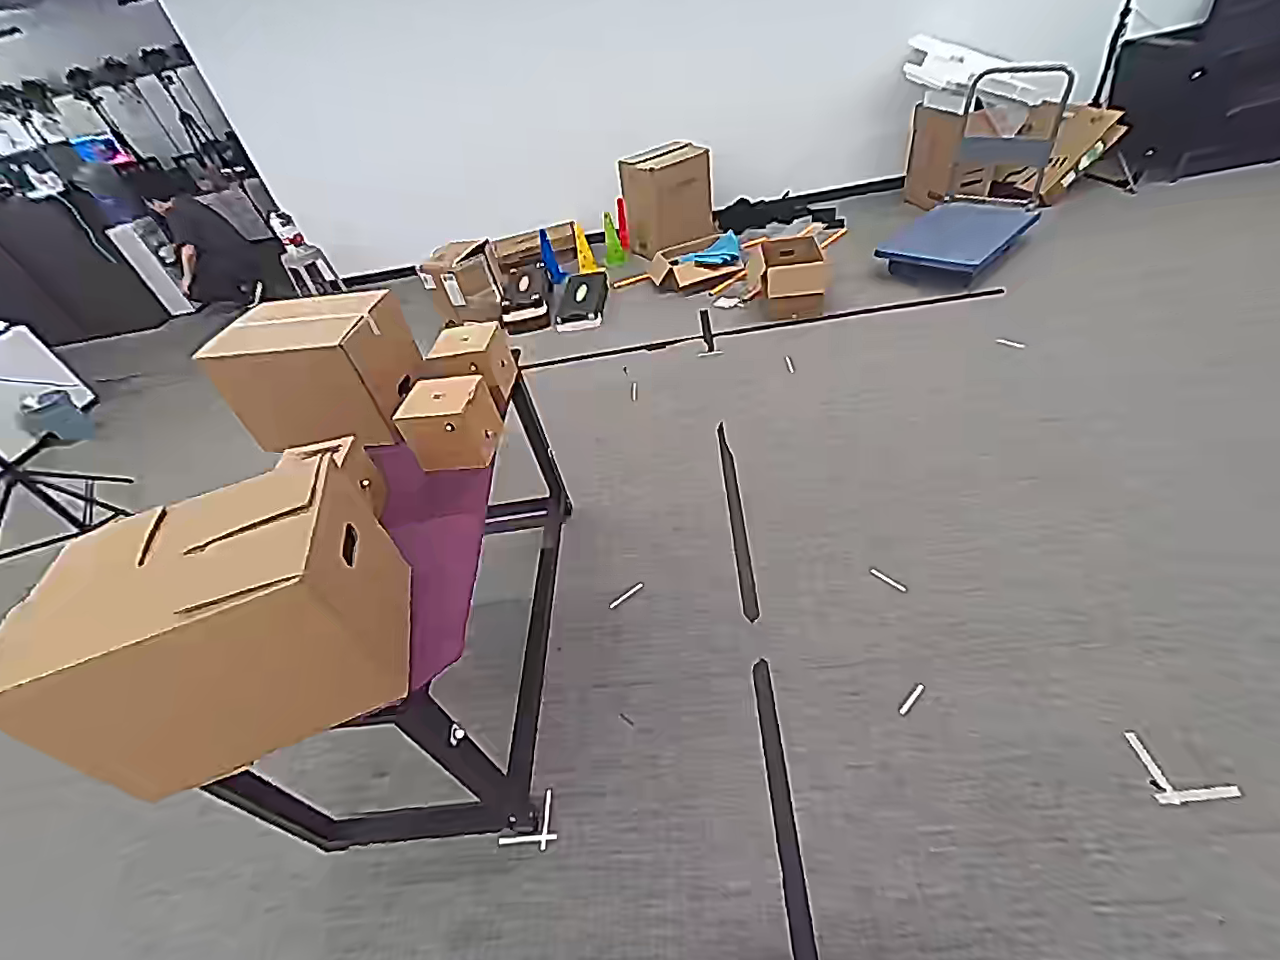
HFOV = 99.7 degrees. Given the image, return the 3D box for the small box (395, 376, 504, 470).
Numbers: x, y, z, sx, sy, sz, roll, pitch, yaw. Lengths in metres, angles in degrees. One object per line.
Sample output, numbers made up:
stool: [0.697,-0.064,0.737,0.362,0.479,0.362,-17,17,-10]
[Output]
small box: [-0.466,-0.139,1.348,0.179,0.176,0.168,-4,42,9]

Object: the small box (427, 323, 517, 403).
small box: [-0.471,-0.325,1.550,0.179,0.176,0.168,-7,42,10]
